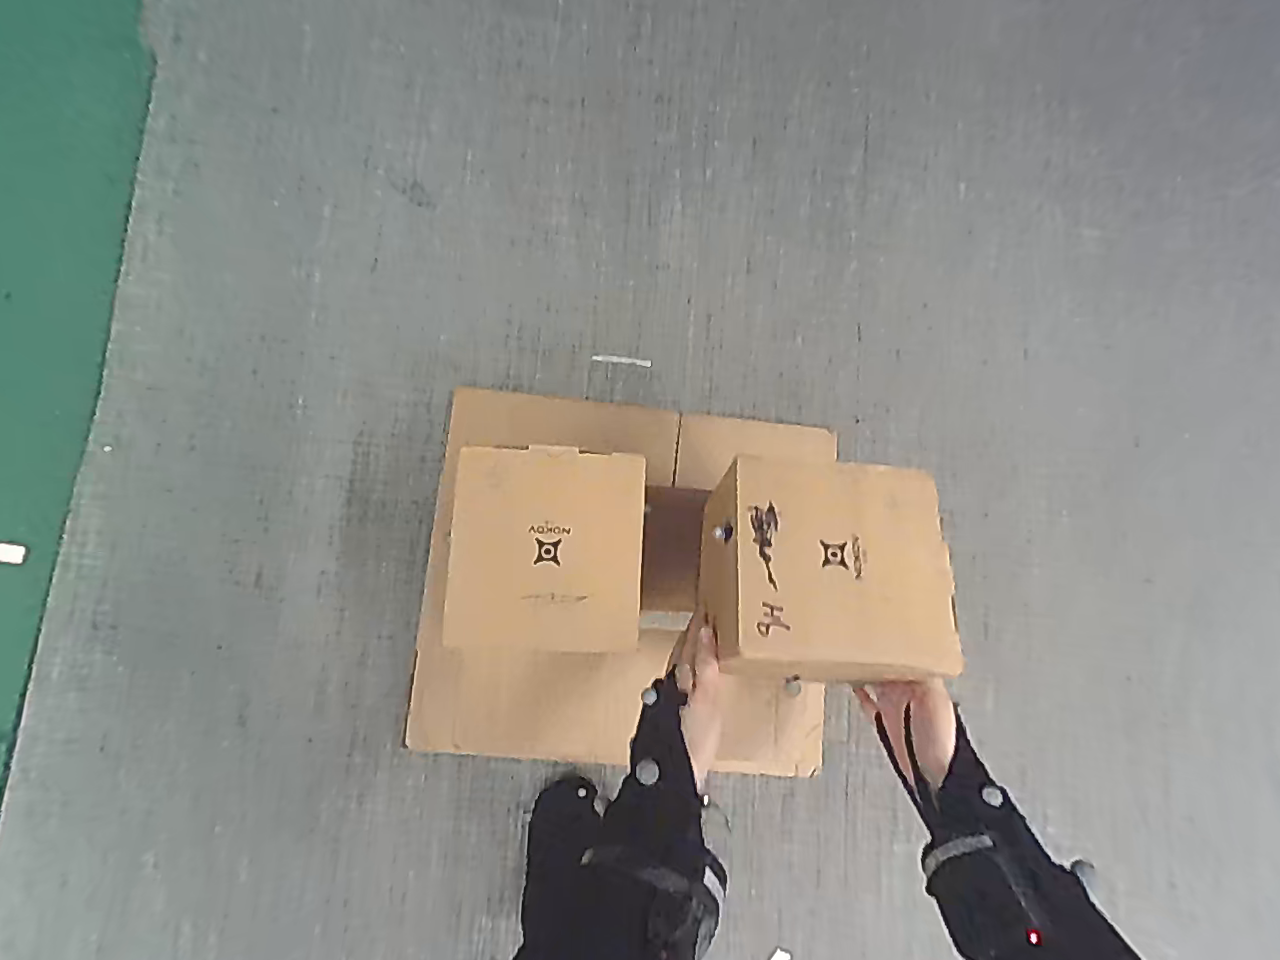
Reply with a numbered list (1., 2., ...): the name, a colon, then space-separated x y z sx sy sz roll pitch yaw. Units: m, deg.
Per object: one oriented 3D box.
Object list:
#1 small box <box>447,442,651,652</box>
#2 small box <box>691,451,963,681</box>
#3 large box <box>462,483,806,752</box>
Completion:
1. small box: -0.082 0.067 0.542 0.168 0.176 0.179 2 82 -4
2. small box: 0.153 0.091 0.502 0.179 0.176 0.168 6 66 -5
3. large box: -0.012 0.175 0.781 0.408 0.320 0.320 4 83 -6
